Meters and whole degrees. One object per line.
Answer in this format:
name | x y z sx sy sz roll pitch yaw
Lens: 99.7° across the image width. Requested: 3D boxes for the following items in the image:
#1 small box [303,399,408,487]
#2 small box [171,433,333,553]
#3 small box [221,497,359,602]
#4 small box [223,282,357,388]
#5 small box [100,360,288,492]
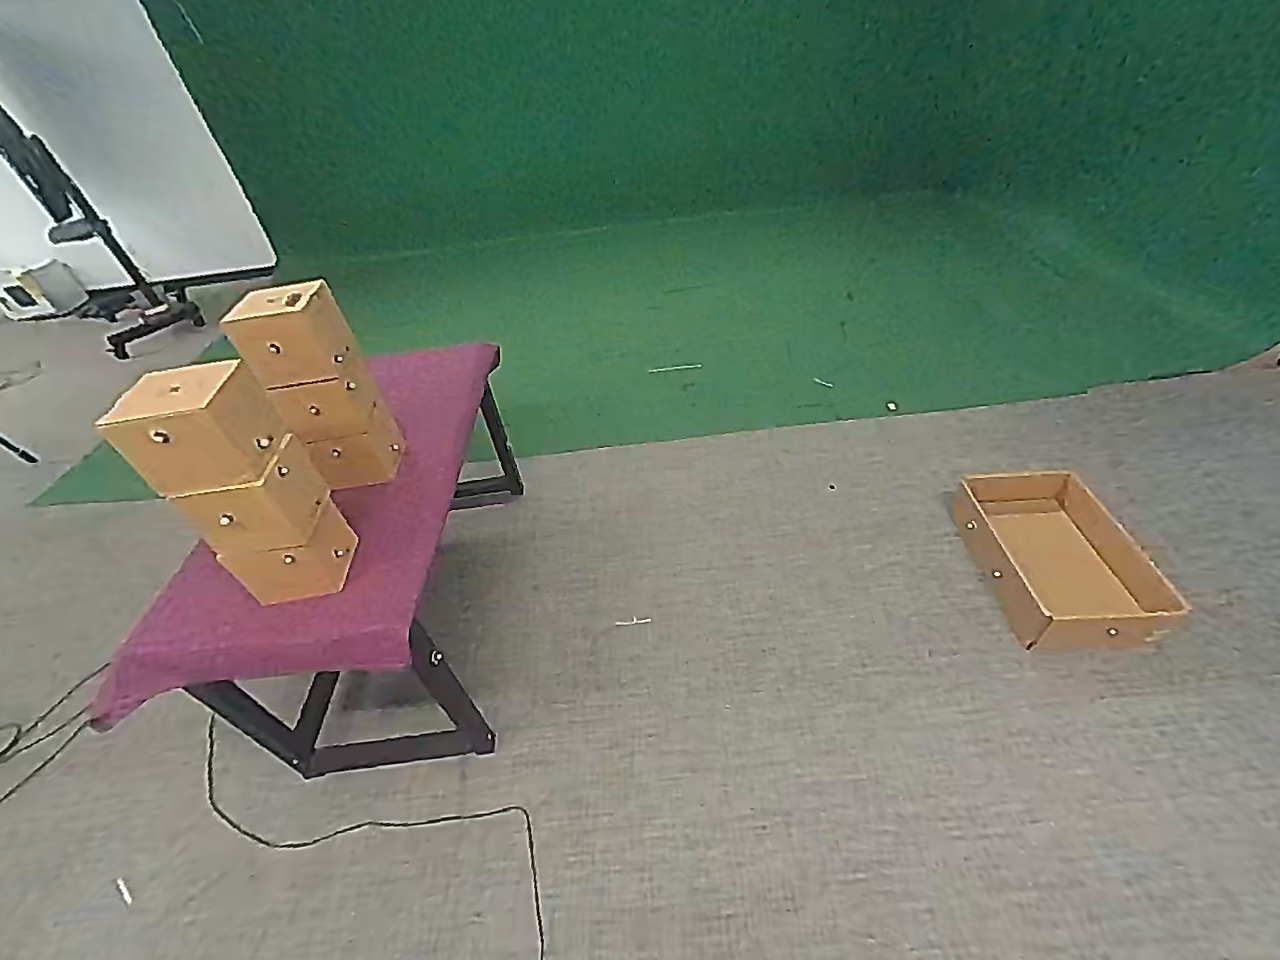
small box | -0.765 -0.096 1.475 0.179 0.176 0.168 -8 43 0
small box | -0.770 0.029 1.097 0.179 0.176 0.168 -9 42 -1
small box | -0.766 0.151 1.207 0.179 0.176 0.168 -10 42 -2
small box | -0.792 -0.333 1.249 0.179 0.176 0.168 -10 42 0
small box | -0.799 -0.095 0.993 0.179 0.176 0.168 -9 42 -3
